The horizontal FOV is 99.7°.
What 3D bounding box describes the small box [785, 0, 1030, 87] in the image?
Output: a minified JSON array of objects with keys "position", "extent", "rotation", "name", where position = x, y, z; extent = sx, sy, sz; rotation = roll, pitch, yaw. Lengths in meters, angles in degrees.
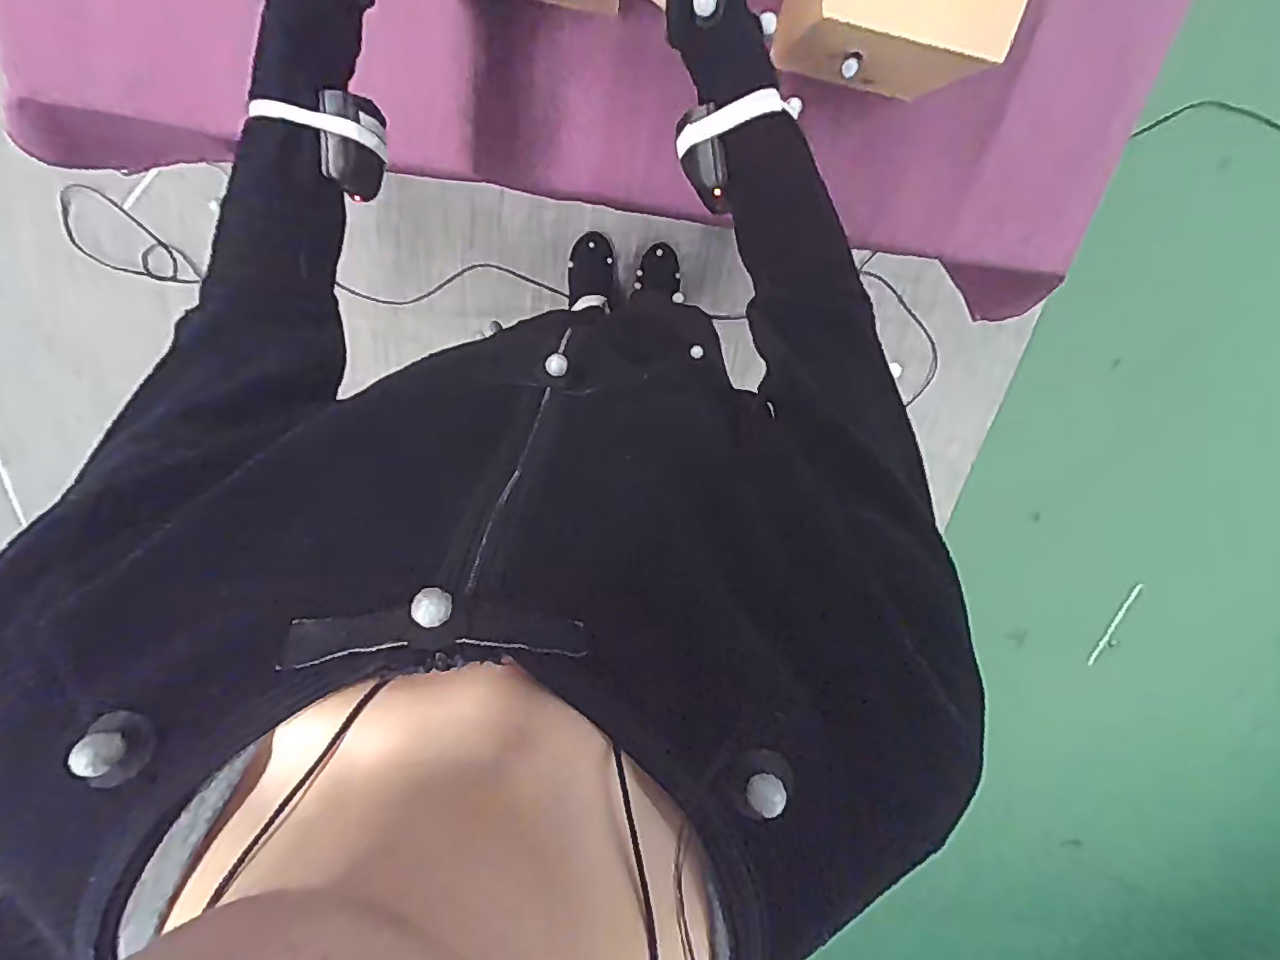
[{"position":[0.243,-0.481,0.480],"extent":[0.168,0.176,0.179],"rotation":[9,114,-6],"name":"small box"}]
